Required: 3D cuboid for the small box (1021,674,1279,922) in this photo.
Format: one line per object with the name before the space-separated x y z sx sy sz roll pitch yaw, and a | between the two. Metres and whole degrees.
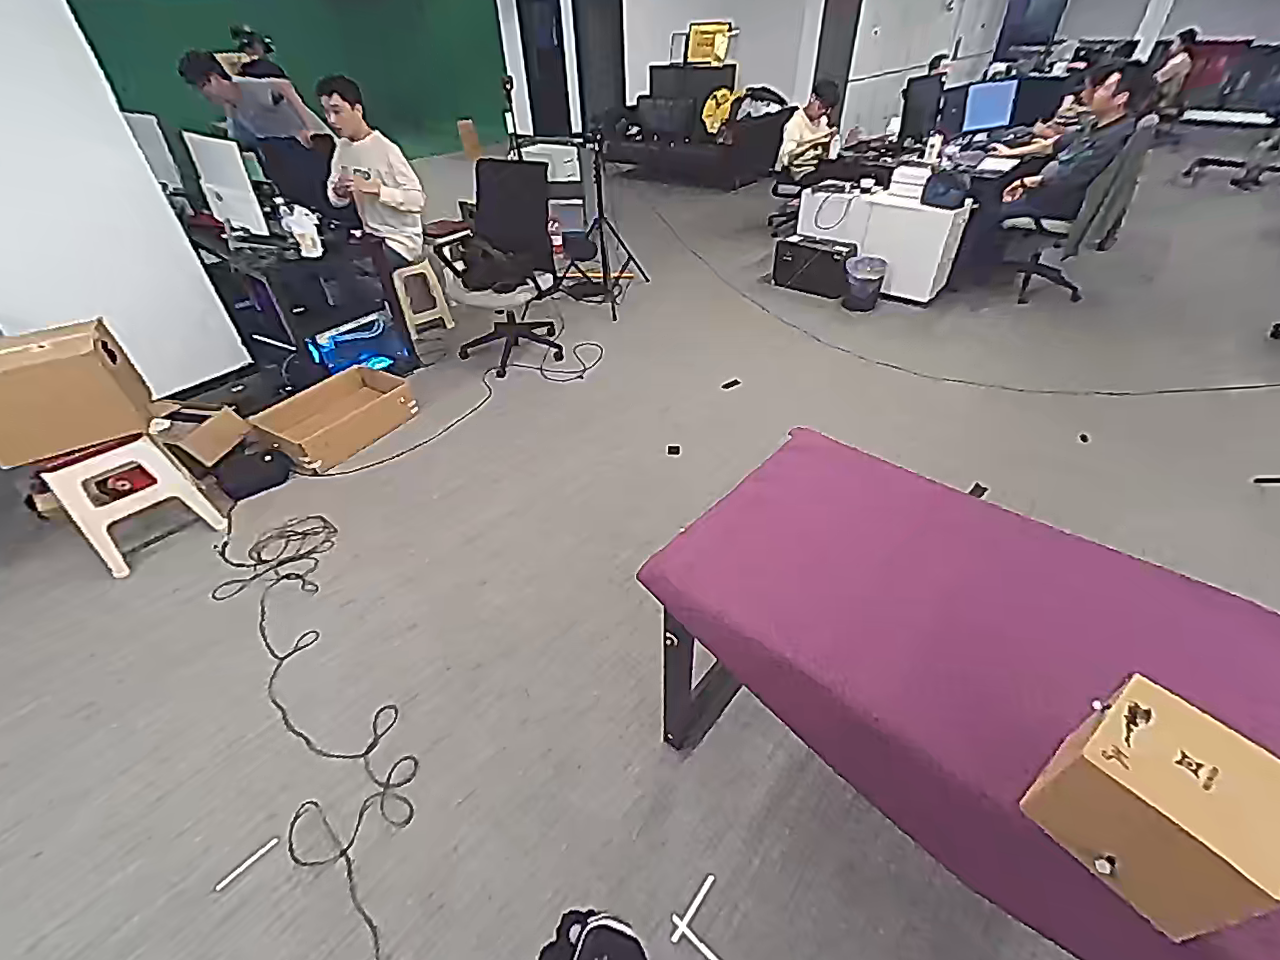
small box | 0.611 0.378 0.643 0.168 0.176 0.179 -26 46 -27
